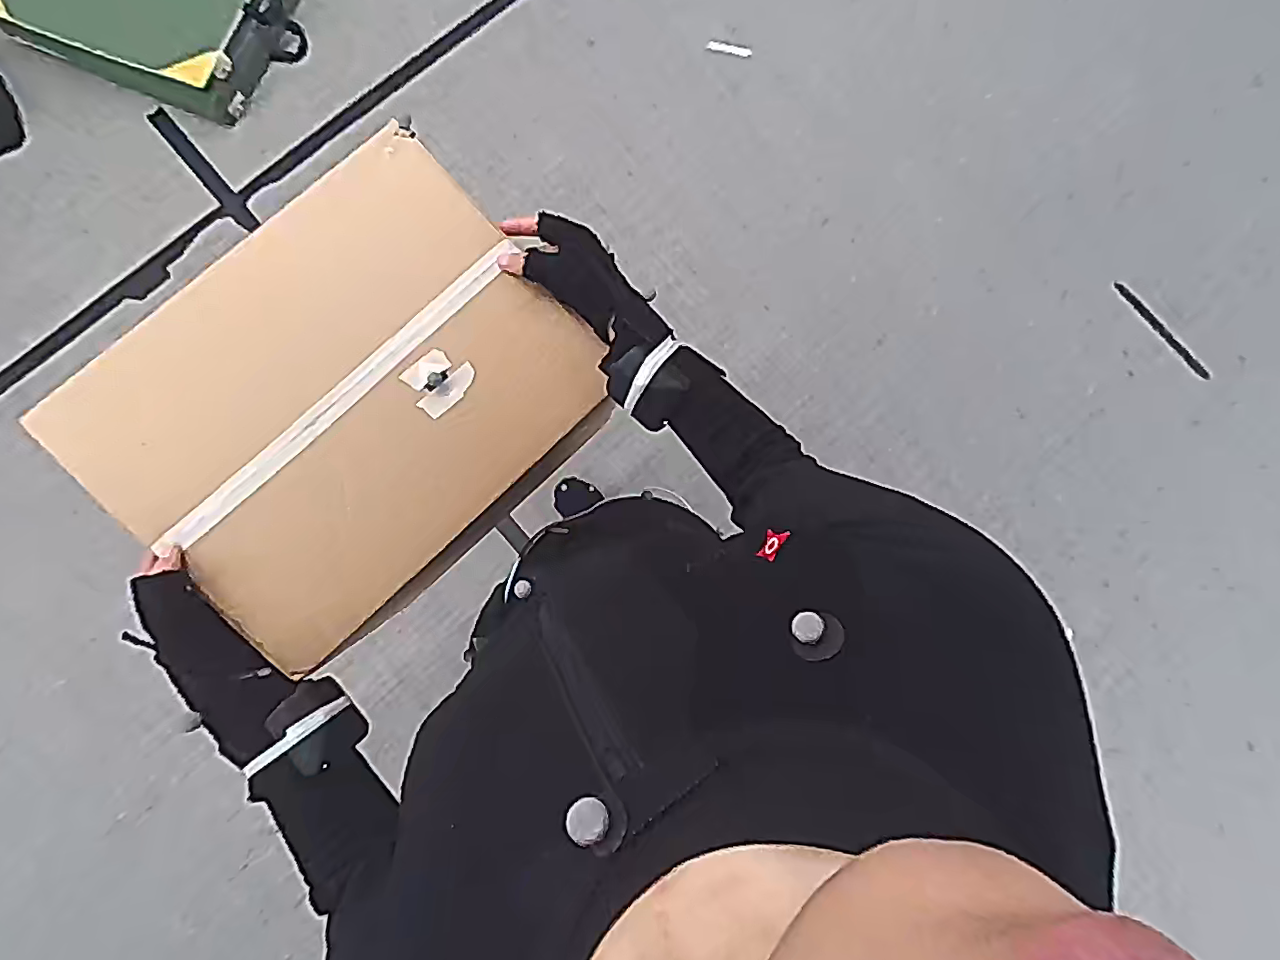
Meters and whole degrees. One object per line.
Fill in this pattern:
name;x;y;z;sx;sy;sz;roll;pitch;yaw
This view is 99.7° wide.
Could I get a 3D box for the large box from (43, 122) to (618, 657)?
large box;-0.283;-0.081;0.634;0.408;0.320;0.320;-45;96;-7
